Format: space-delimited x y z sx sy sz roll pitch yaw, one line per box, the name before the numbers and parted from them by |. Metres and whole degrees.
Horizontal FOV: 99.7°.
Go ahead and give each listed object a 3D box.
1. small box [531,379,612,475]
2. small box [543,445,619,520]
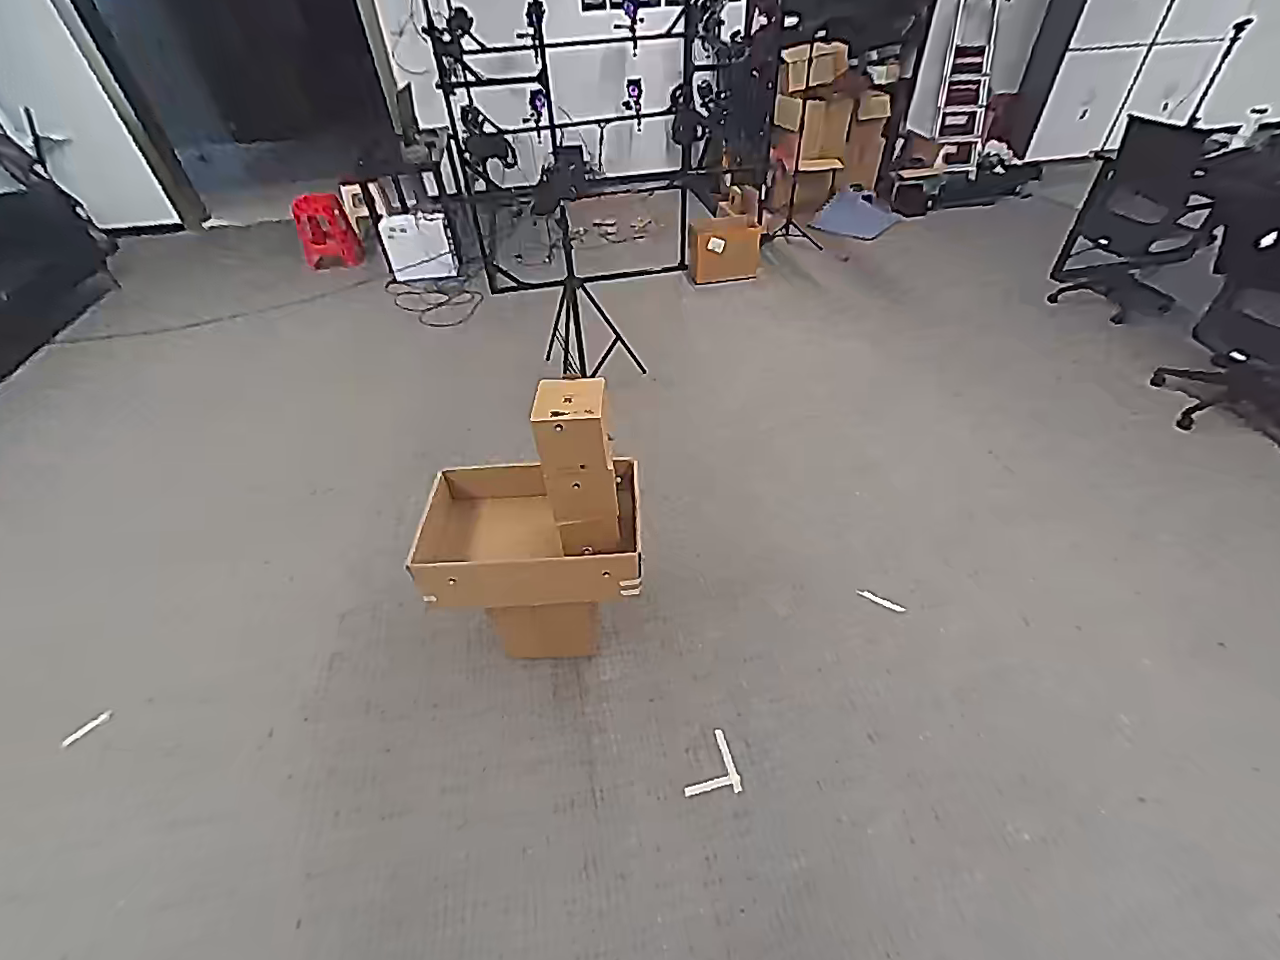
small box | -0.163 -0.132 1.342 0.168 0.176 0.179 -3 41 3
small box | -0.155 -0.007 1.449 0.179 0.176 0.168 -6 42 -2
